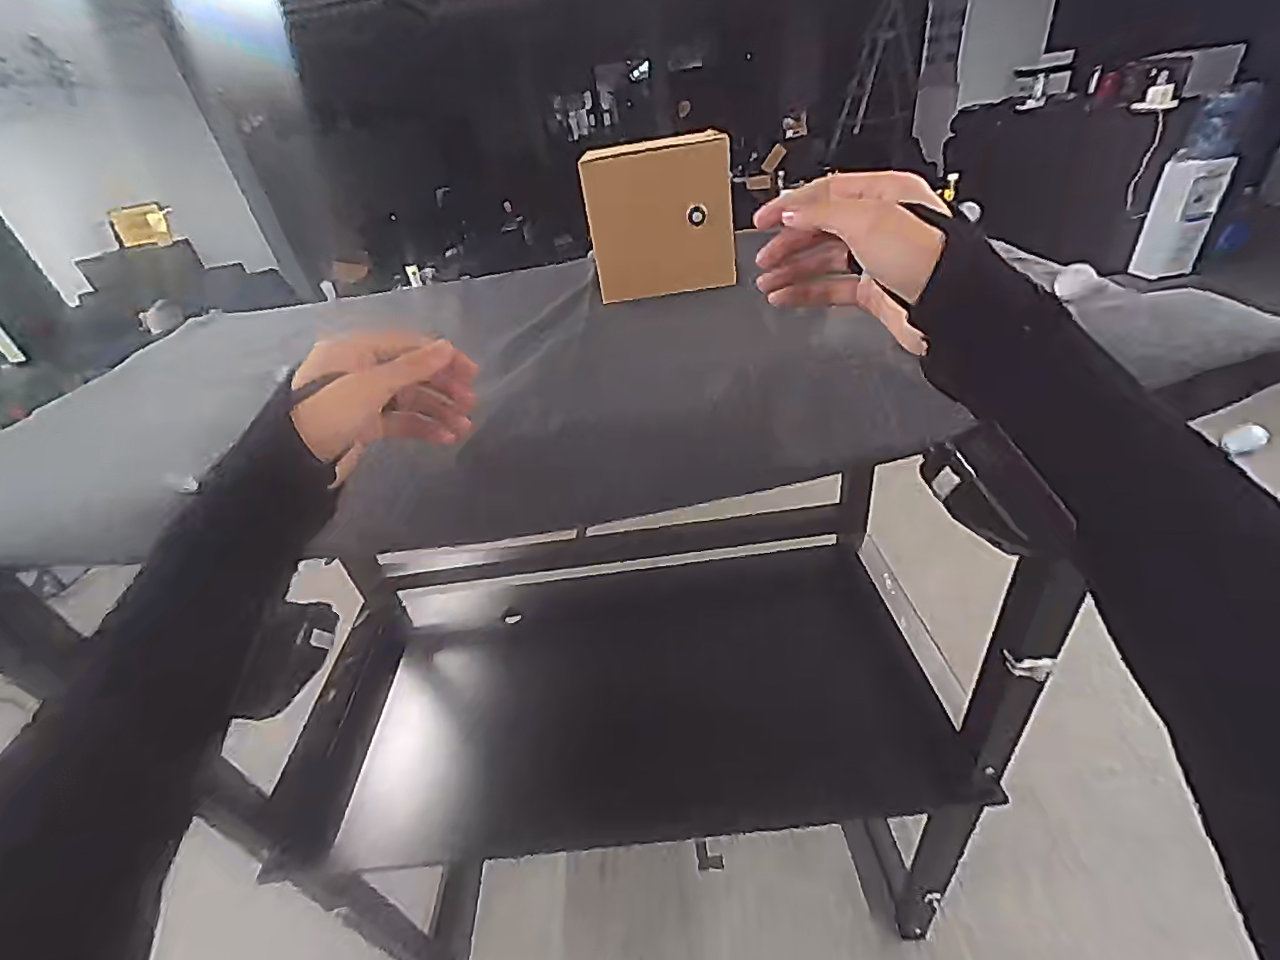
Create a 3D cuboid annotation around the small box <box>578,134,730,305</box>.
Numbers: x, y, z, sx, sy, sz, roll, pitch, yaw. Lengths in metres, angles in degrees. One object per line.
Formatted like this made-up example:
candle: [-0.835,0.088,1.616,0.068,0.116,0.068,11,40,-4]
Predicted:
small box: [0.024,-0.348,0.721,0.179,0.176,0.168,-7,34,4]
